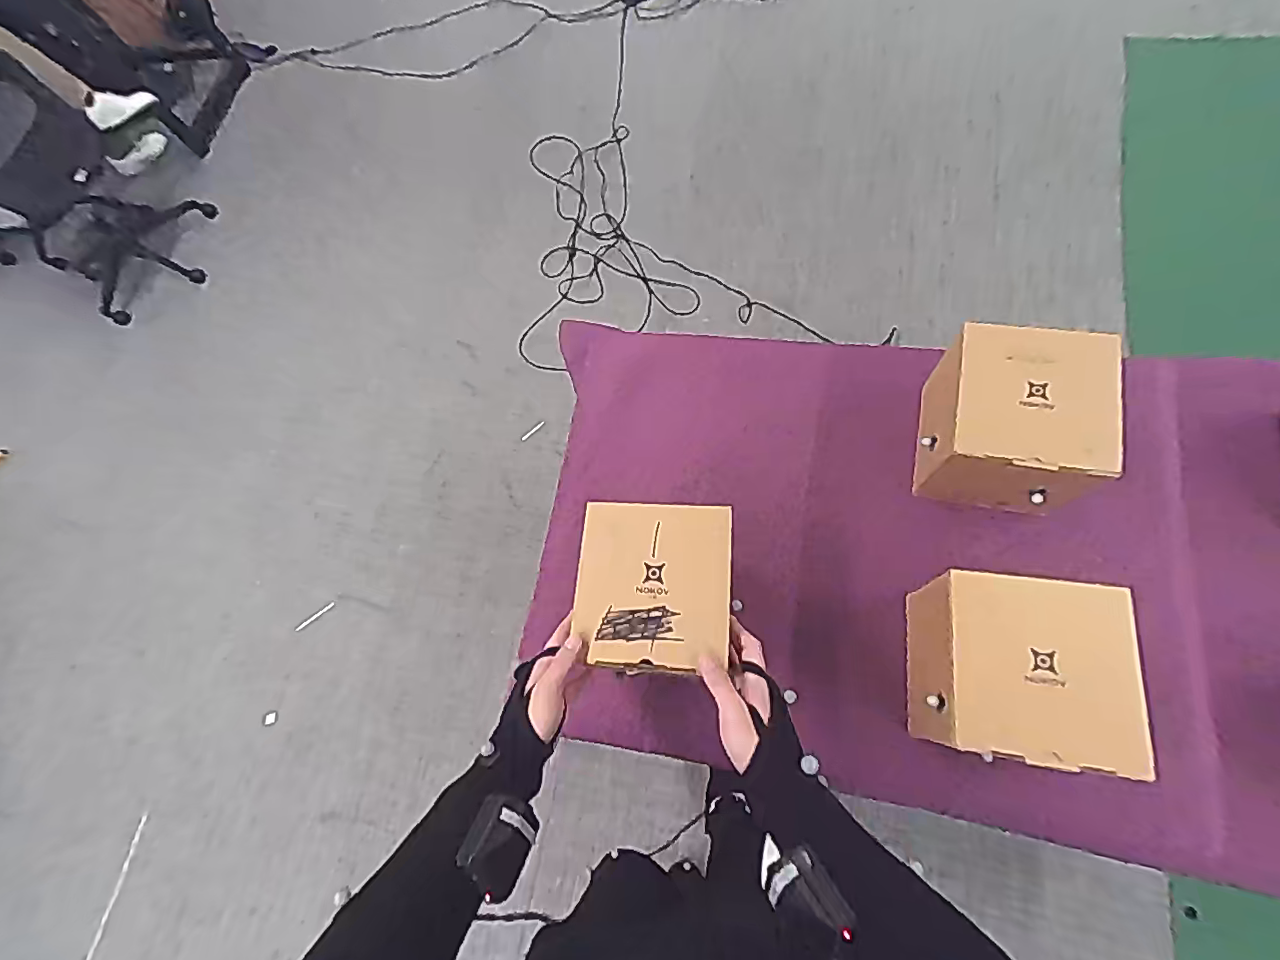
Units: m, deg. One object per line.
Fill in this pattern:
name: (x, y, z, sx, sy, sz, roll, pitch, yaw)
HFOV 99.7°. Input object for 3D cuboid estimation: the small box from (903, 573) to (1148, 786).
small box: (0.403, 0.214, 0.602, 0.168, 0.176, 0.179, 5, 71, 12)

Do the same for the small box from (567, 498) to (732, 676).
small box: (0.023, 0.134, 0.649, 0.168, 0.176, 0.179, 2, 67, 9)

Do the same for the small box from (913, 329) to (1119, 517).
small box: (0.463, -0.064, 0.691, 0.168, 0.176, 0.179, 11, 73, 14)
